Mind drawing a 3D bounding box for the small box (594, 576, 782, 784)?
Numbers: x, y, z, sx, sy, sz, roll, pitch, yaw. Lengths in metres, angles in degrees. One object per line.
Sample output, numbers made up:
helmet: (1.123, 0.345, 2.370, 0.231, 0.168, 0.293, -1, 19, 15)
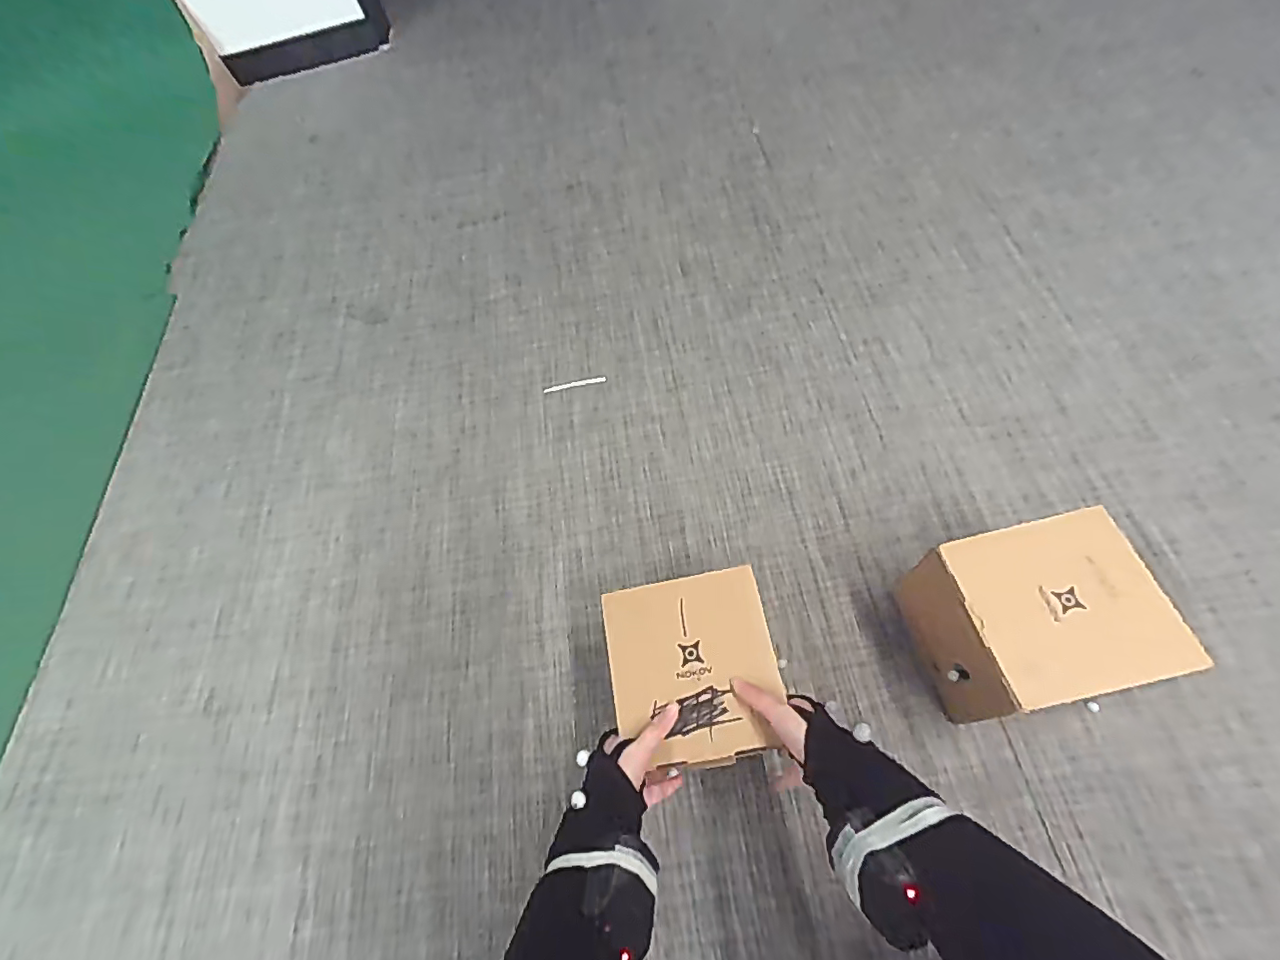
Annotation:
small box: (0.056, 0.228, 0.612, 0.168, 0.176, 0.179, -13, 62, 4)

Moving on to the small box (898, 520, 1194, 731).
small box: (0.406, 0.167, 0.589, 0.179, 0.176, 0.168, -14, 61, 2)
